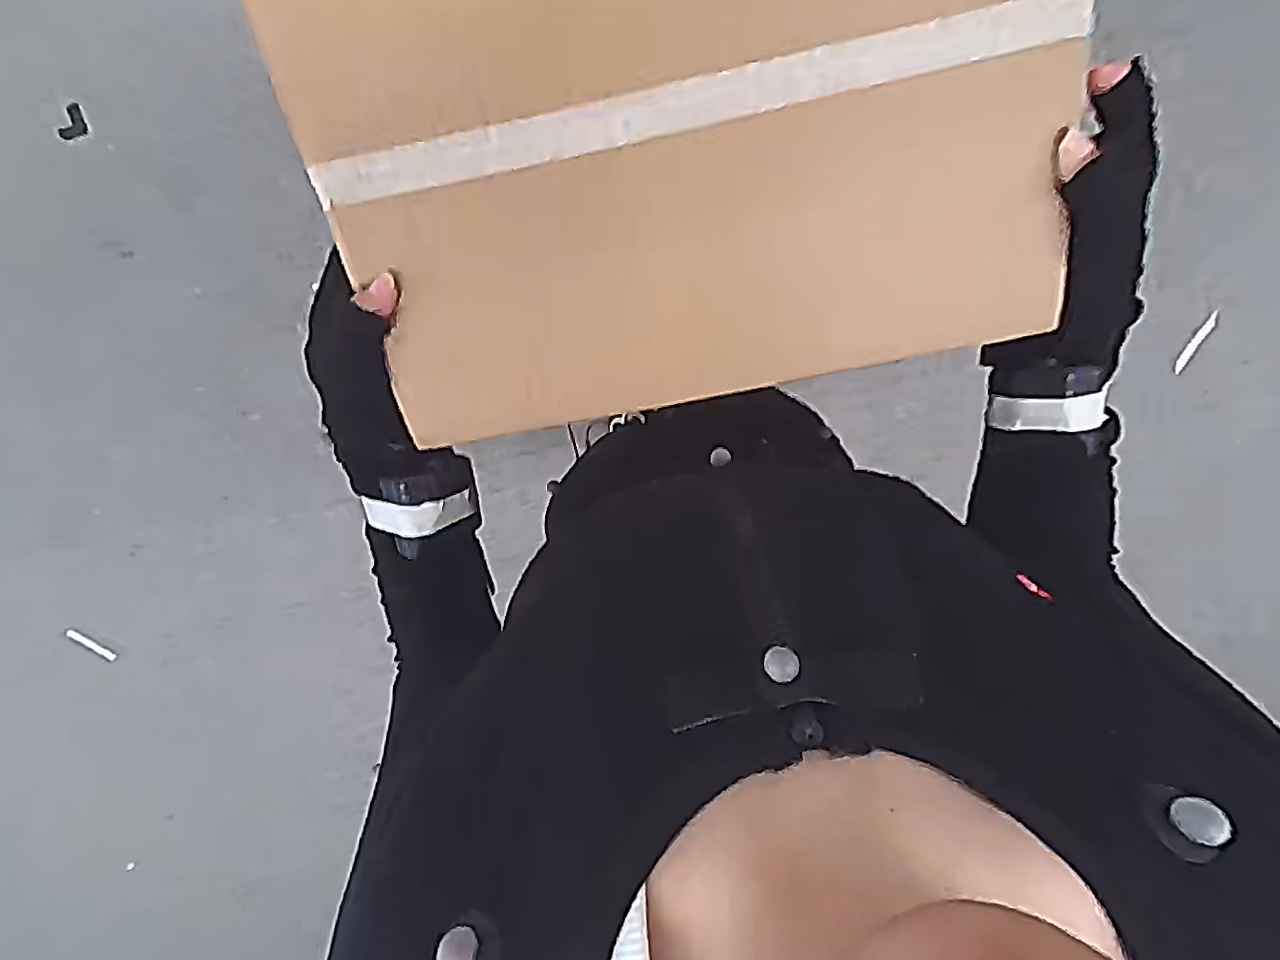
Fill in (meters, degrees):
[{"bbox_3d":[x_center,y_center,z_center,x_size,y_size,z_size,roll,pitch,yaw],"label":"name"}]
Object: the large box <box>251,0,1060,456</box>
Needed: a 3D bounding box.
[{"bbox_3d":[0.019,-0.251,0.429,0.408,0.320,0.320,-11,113,4],"label":"large box"}]
